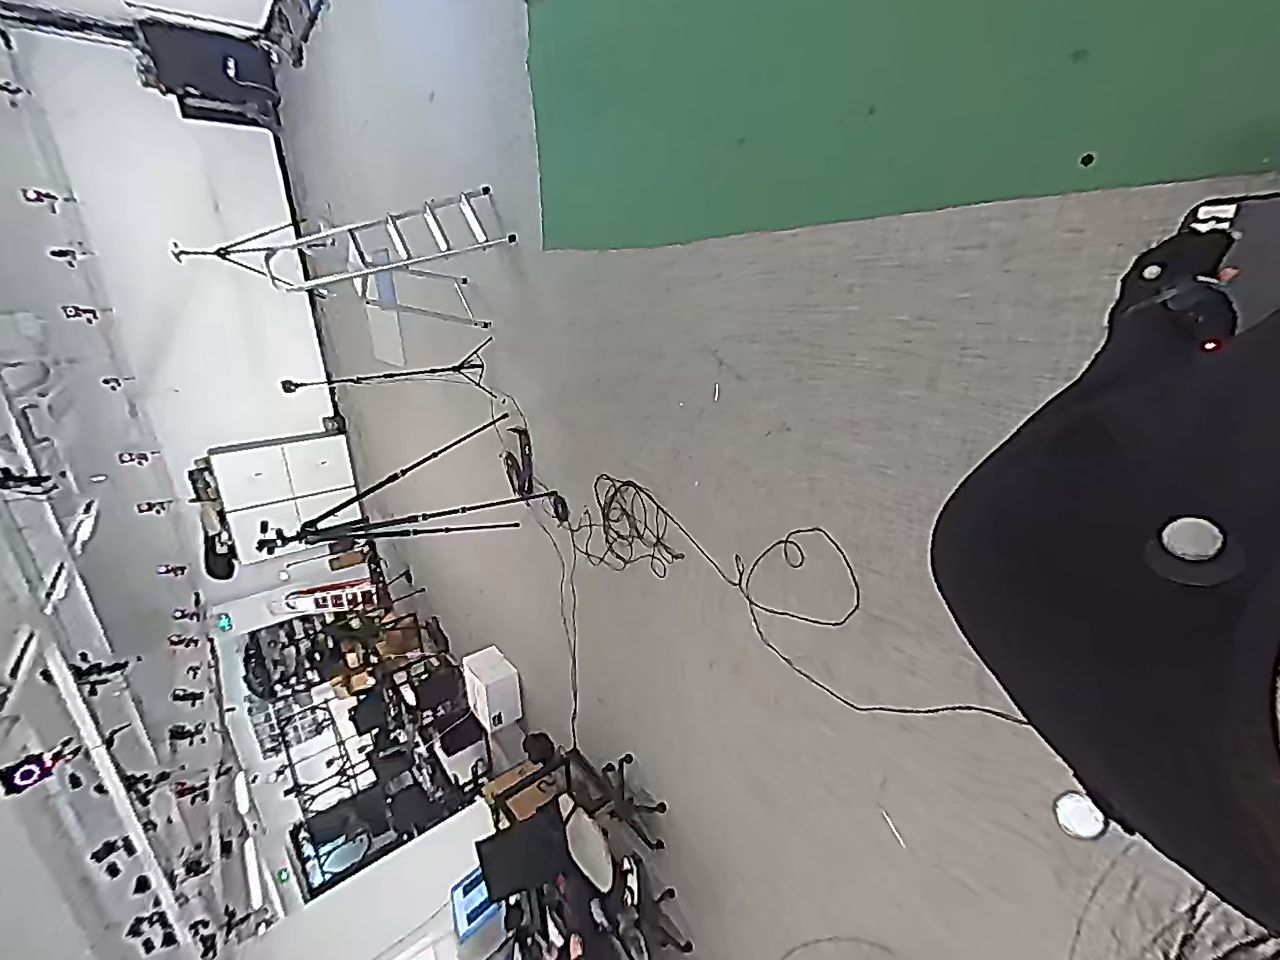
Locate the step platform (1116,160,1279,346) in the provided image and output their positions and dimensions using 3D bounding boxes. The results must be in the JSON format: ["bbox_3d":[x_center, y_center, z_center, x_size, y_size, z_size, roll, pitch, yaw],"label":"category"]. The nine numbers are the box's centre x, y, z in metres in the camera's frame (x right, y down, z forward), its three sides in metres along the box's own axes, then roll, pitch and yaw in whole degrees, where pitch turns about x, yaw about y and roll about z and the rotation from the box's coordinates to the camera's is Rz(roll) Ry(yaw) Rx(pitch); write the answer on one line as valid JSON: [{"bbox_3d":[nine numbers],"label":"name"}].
[{"bbox_3d":[1.138,-0.328,0.754,0.684,0.204,0.286,21,120,48],"label":"step platform"}]
